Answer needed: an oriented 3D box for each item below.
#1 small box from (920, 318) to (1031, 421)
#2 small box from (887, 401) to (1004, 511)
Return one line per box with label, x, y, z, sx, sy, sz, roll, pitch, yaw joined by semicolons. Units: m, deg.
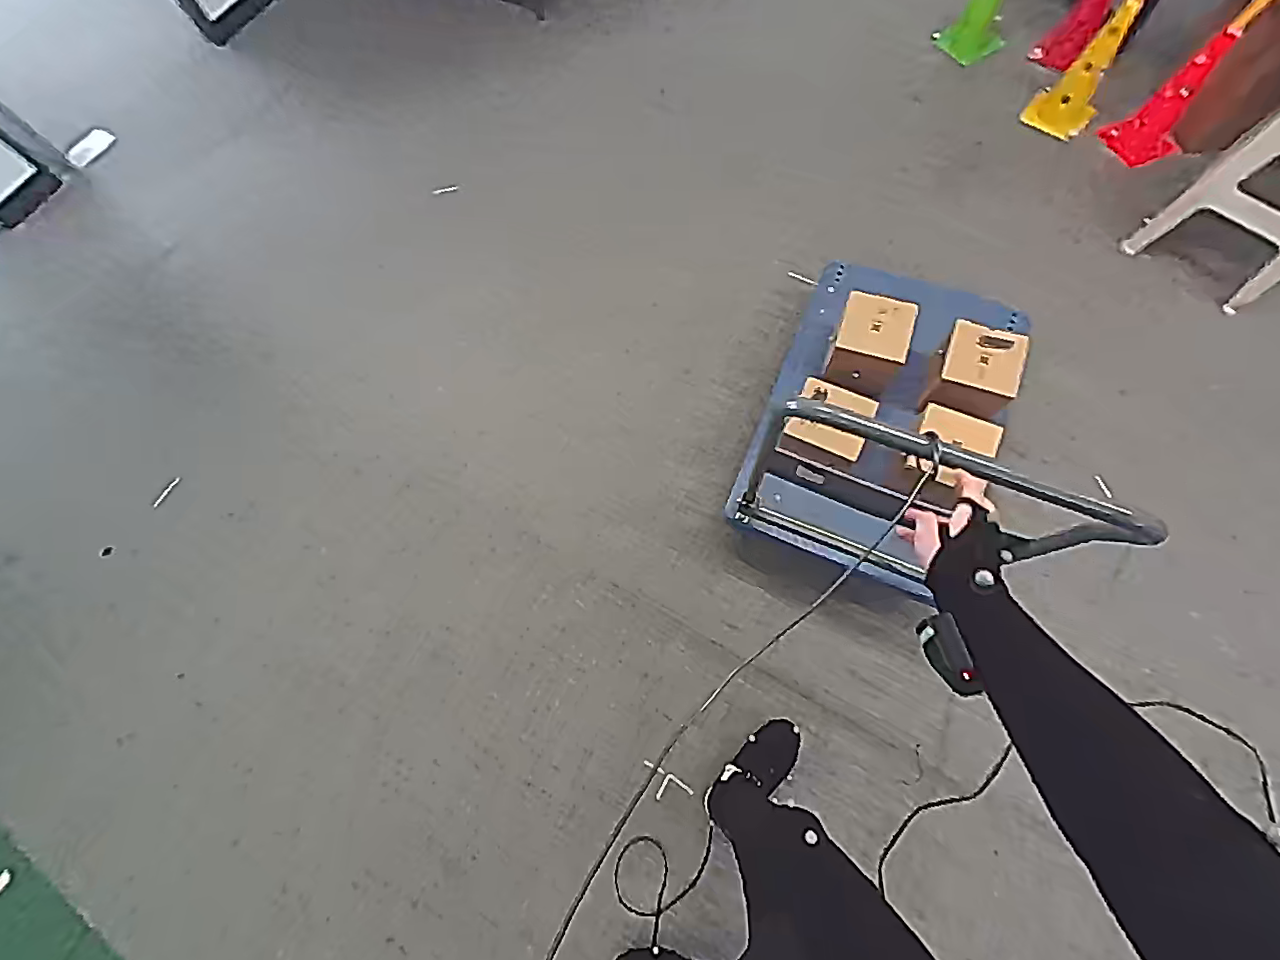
small box;0.824;-0.264;1.343;0.168;0.176;0.179;20;75;12
small box;0.711;-0.051;1.278;0.168;0.176;0.179;24;75;13
